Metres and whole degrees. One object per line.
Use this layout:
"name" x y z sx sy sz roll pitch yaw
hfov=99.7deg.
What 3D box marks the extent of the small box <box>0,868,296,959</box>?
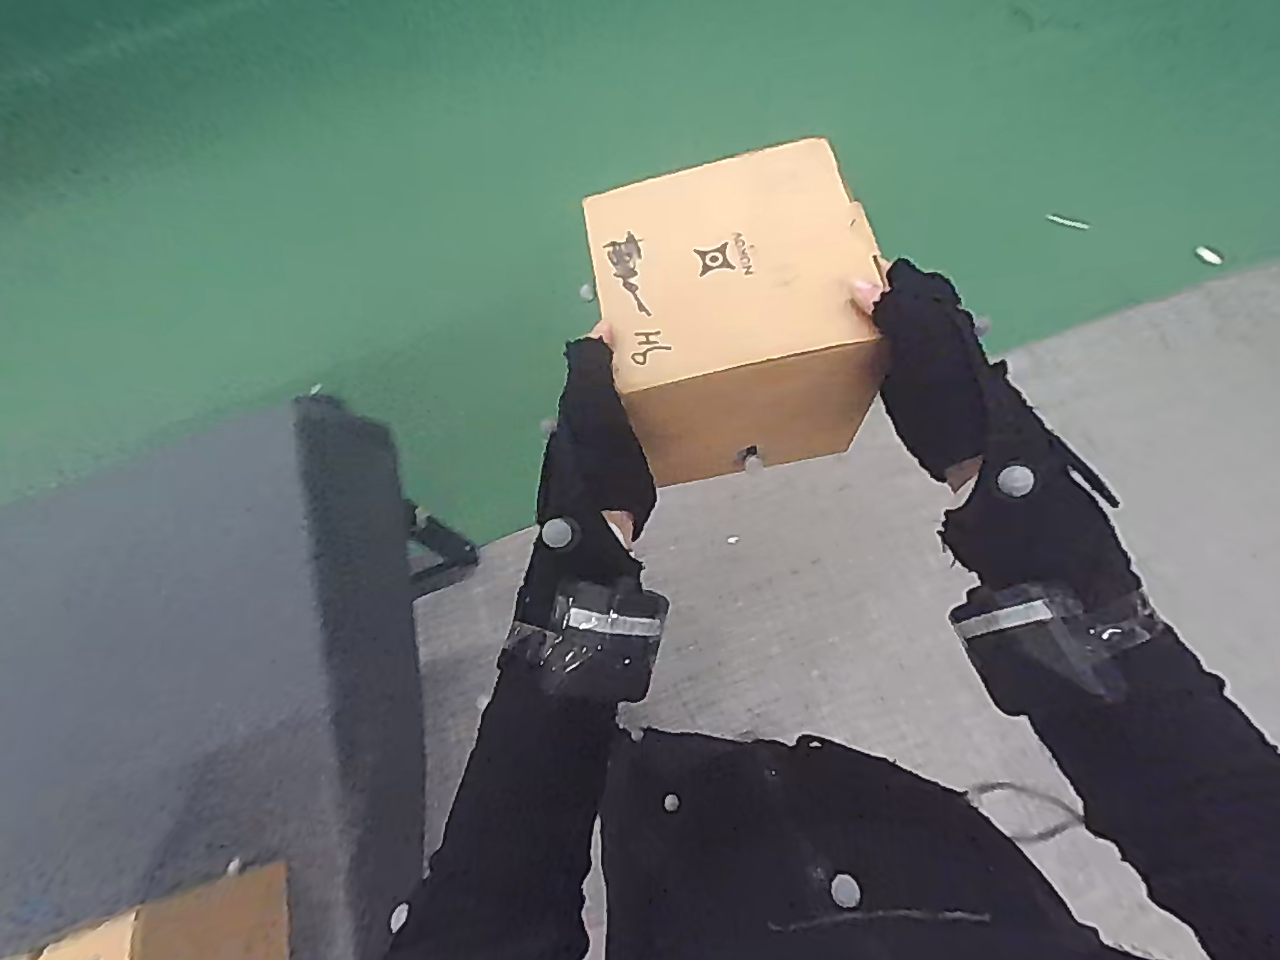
"small box" -0.435 0.471 0.472 0.168 0.176 0.179 -18 66 3
